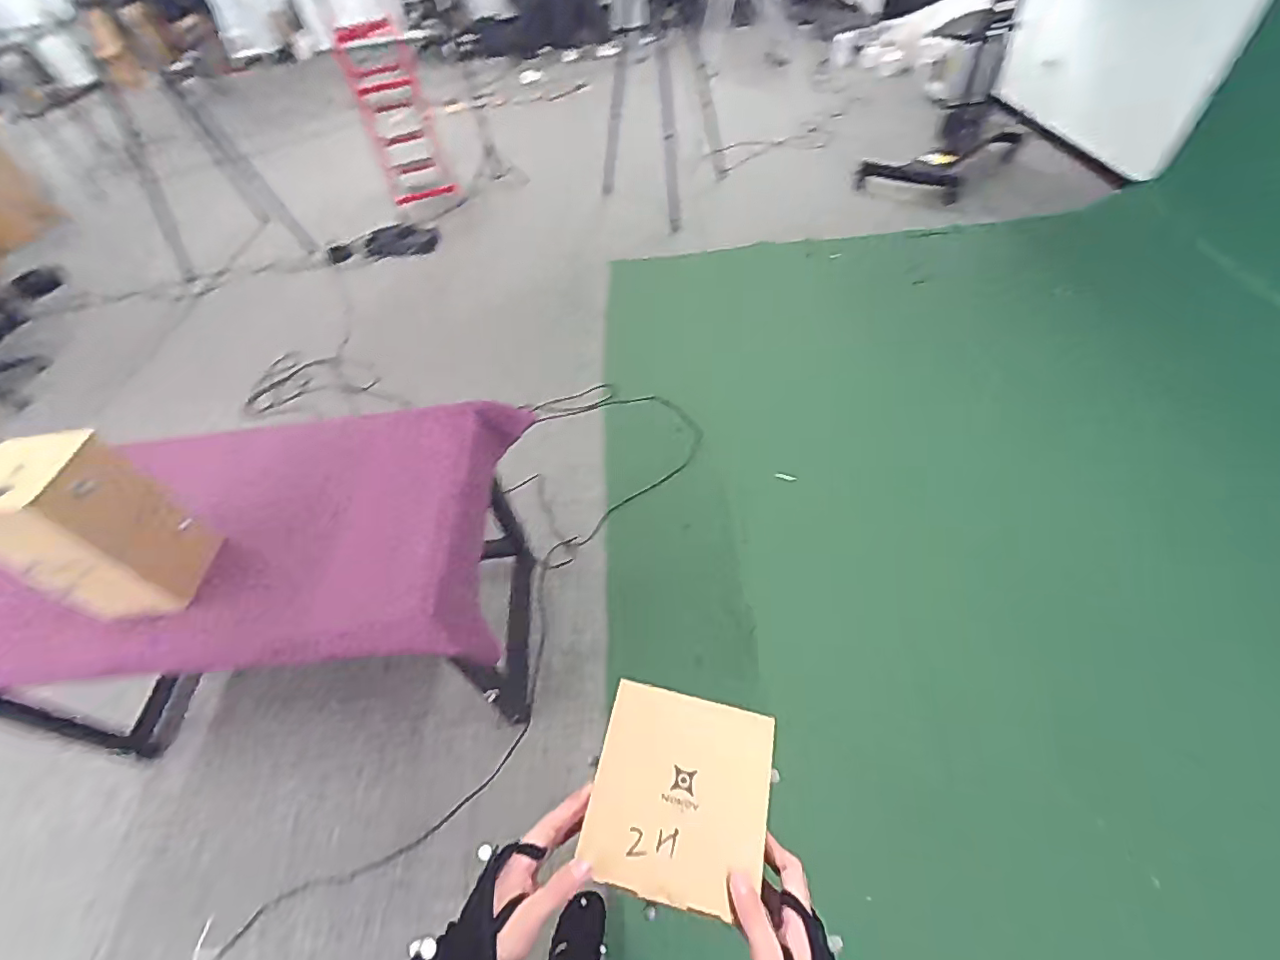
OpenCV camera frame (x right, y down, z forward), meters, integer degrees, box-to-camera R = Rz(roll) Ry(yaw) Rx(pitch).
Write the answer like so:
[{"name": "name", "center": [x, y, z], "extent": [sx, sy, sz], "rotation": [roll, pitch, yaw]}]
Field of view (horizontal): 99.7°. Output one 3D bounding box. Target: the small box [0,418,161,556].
[{"name": "small box", "center": [-1.001, 0.019, 0.937], "extent": [0.168, 0.176, 0.179], "rotation": [-6, 49, 2]}]

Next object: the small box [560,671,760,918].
[{"name": "small box", "center": [0.022, 0.334, 0.580], "extent": [0.168, 0.176, 0.179], "rotation": [12, 54, 6]}]
